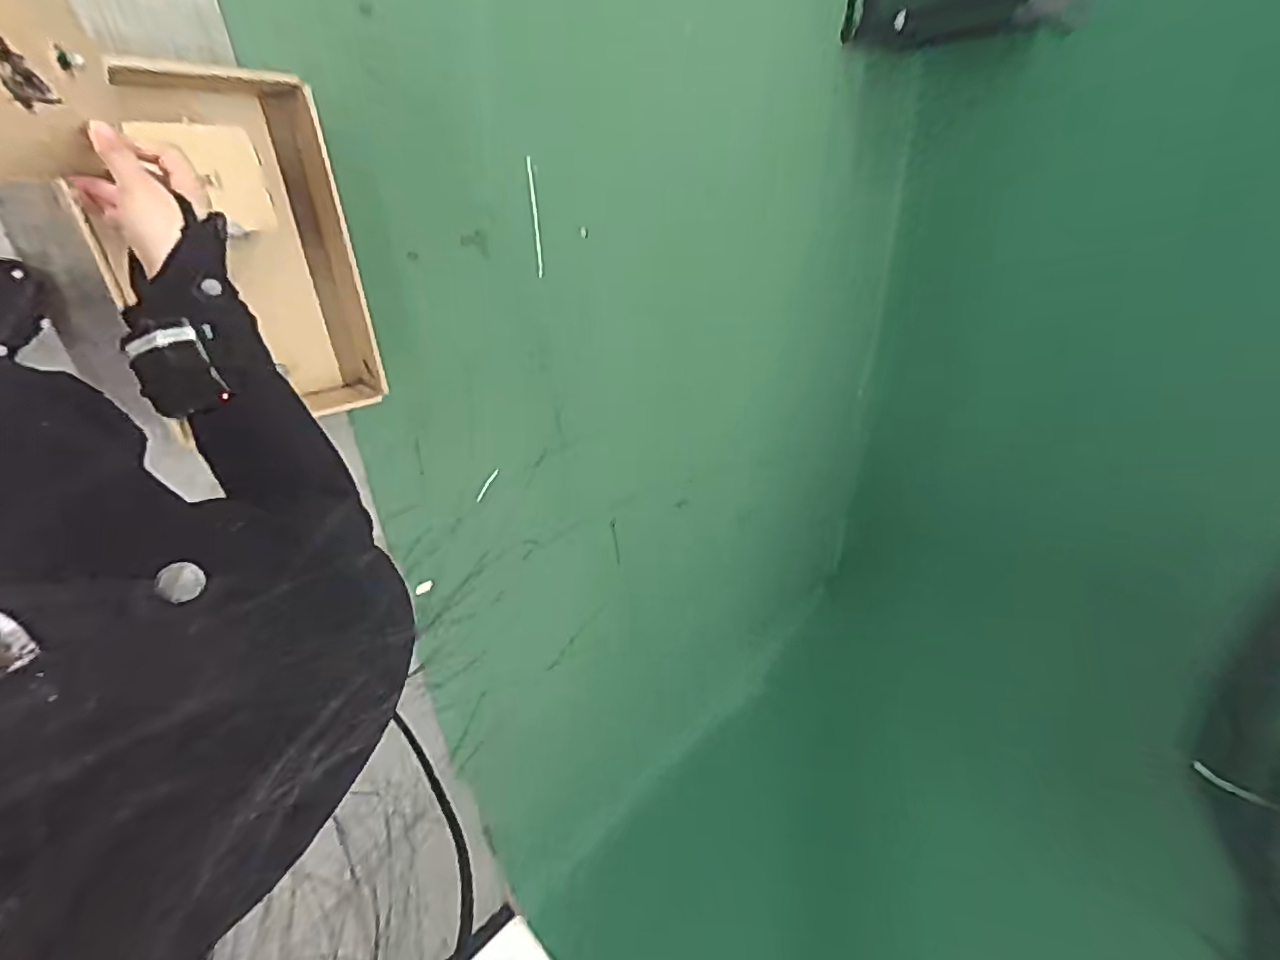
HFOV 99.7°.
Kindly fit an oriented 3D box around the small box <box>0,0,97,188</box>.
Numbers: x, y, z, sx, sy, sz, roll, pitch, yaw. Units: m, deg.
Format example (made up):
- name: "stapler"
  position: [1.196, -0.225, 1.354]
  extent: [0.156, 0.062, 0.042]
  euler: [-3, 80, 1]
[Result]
- name: "small box"
  position: [-0.512, -0.313, 0.352]
  extent: [0.179, 0.176, 0.168]
  euler: [-20, 153, -21]
